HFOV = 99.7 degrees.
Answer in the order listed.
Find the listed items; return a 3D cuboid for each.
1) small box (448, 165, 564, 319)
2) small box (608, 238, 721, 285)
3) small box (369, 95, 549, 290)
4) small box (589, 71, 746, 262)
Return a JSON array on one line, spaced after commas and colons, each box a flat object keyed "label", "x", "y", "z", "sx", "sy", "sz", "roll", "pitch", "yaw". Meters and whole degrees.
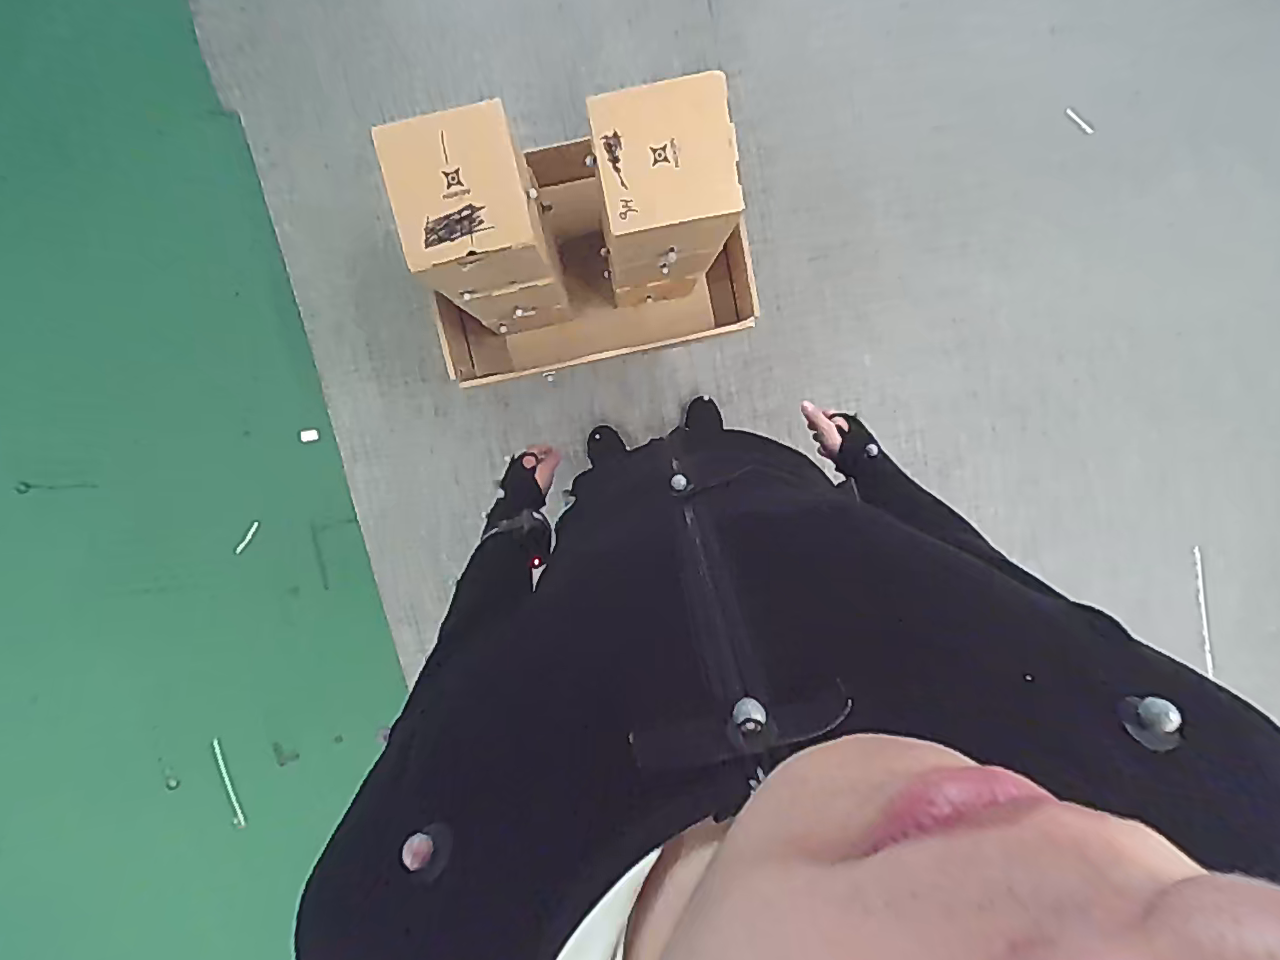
[{"label": "small box", "x": -0.230, "y": -0.384, "z": 0.901, "sx": 0.168, "sy": 0.176, "sz": 0.179, "roll": -11, "pitch": 97, "yaw": 0}, {"label": "small box", "x": 0.025, "y": -0.438, "z": 0.906, "sx": 0.179, "sy": 0.176, "sz": 0.168, "roll": -10, "pitch": 99, "yaw": -1}, {"label": "small box", "x": -0.230, "y": -0.371, "z": 0.737, "sx": 0.168, "sy": 0.176, "sz": 0.179, "roll": -13, "pitch": 96, "yaw": -1}, {"label": "small box", "x": 0.031, "y": -0.415, "z": 0.744, "sx": 0.179, "sy": 0.176, "sz": 0.168, "roll": -11, "pitch": 99, "yaw": -1}]
